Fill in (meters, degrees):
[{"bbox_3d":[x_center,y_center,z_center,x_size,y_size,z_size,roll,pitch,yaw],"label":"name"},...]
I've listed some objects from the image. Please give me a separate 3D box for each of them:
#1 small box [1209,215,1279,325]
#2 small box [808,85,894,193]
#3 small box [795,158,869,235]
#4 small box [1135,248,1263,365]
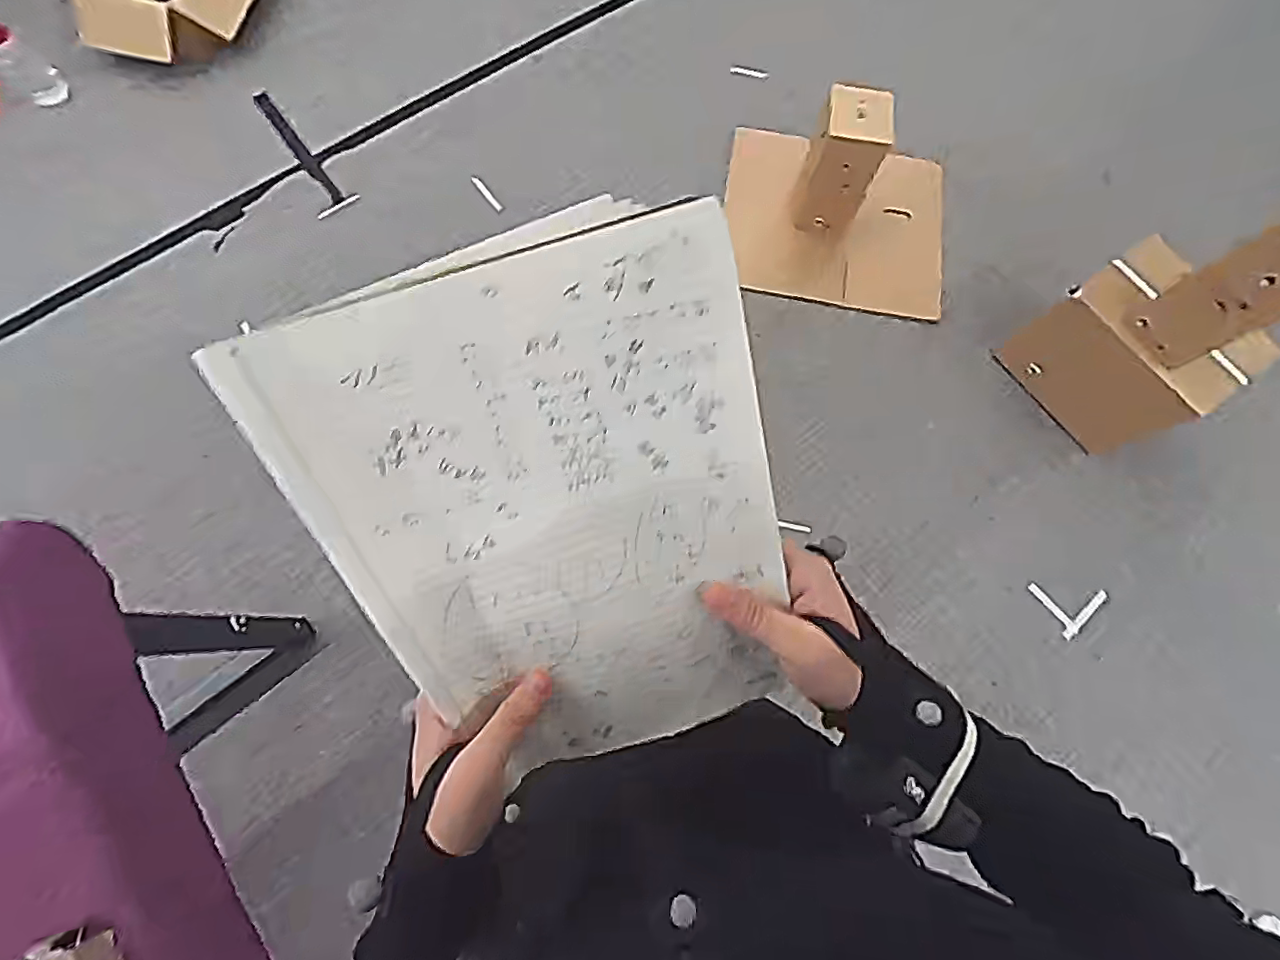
[{"bbox_3d":[1.283,-0.436,1.046,0.179,0.176,0.168,-35,79,-9],"label":"small box"},{"bbox_3d":[0.567,-0.916,1.465,0.168,0.176,0.179,8,74,-1],"label":"small box"},{"bbox_3d":[0.572,-0.874,1.625,0.168,0.176,0.179,6,75,-1],"label":"small box"},{"bbox_3d":[1.270,-0.387,1.202,0.179,0.176,0.168,-32,78,-10],"label":"small box"}]
